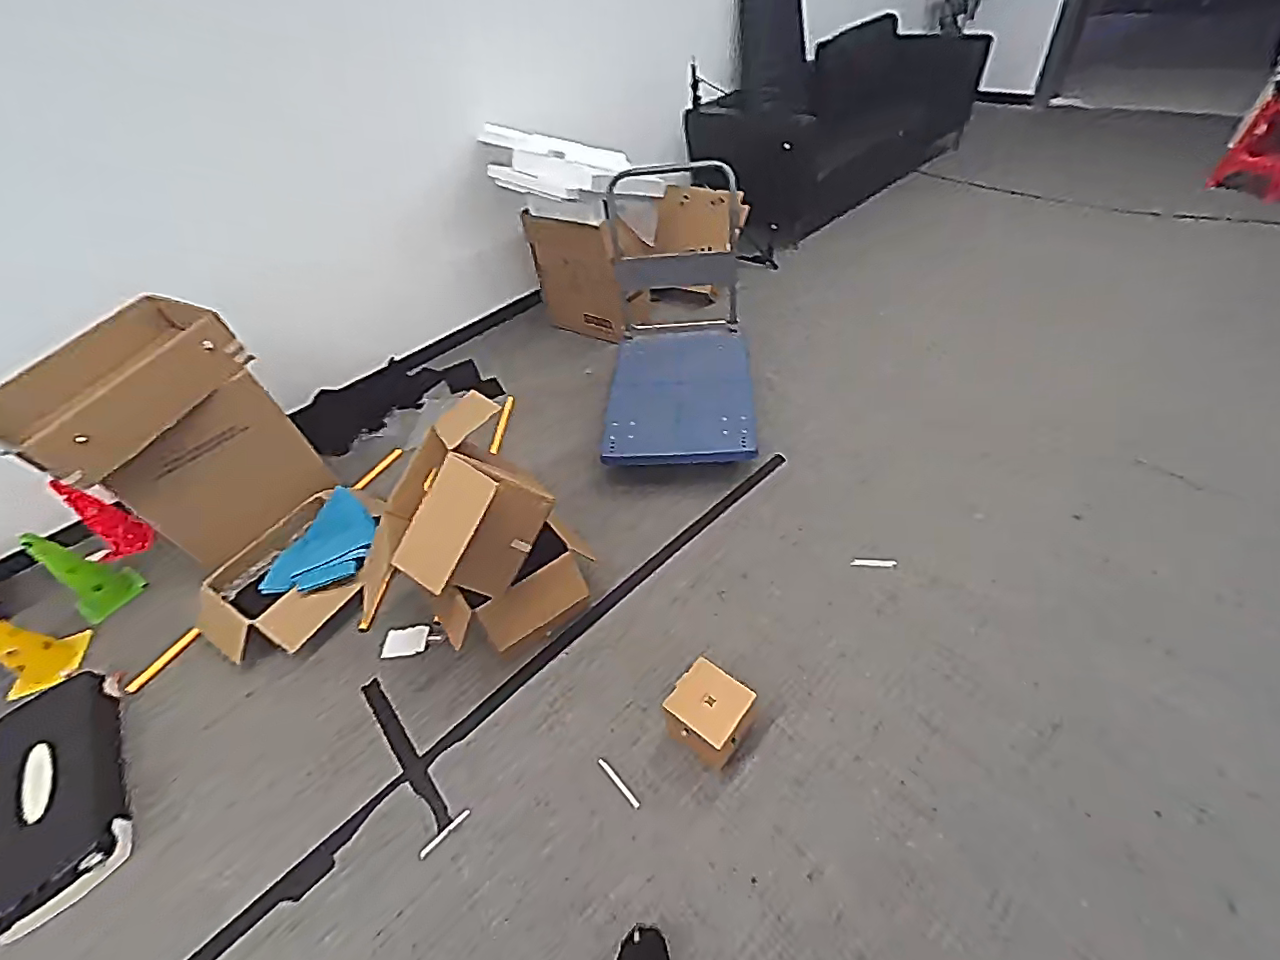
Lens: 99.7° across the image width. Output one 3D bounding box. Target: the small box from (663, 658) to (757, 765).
[{"bbox_3d":[0.183,0.599,1.387,0.179,0.176,0.168,27,56,32],"label":"small box"}]
